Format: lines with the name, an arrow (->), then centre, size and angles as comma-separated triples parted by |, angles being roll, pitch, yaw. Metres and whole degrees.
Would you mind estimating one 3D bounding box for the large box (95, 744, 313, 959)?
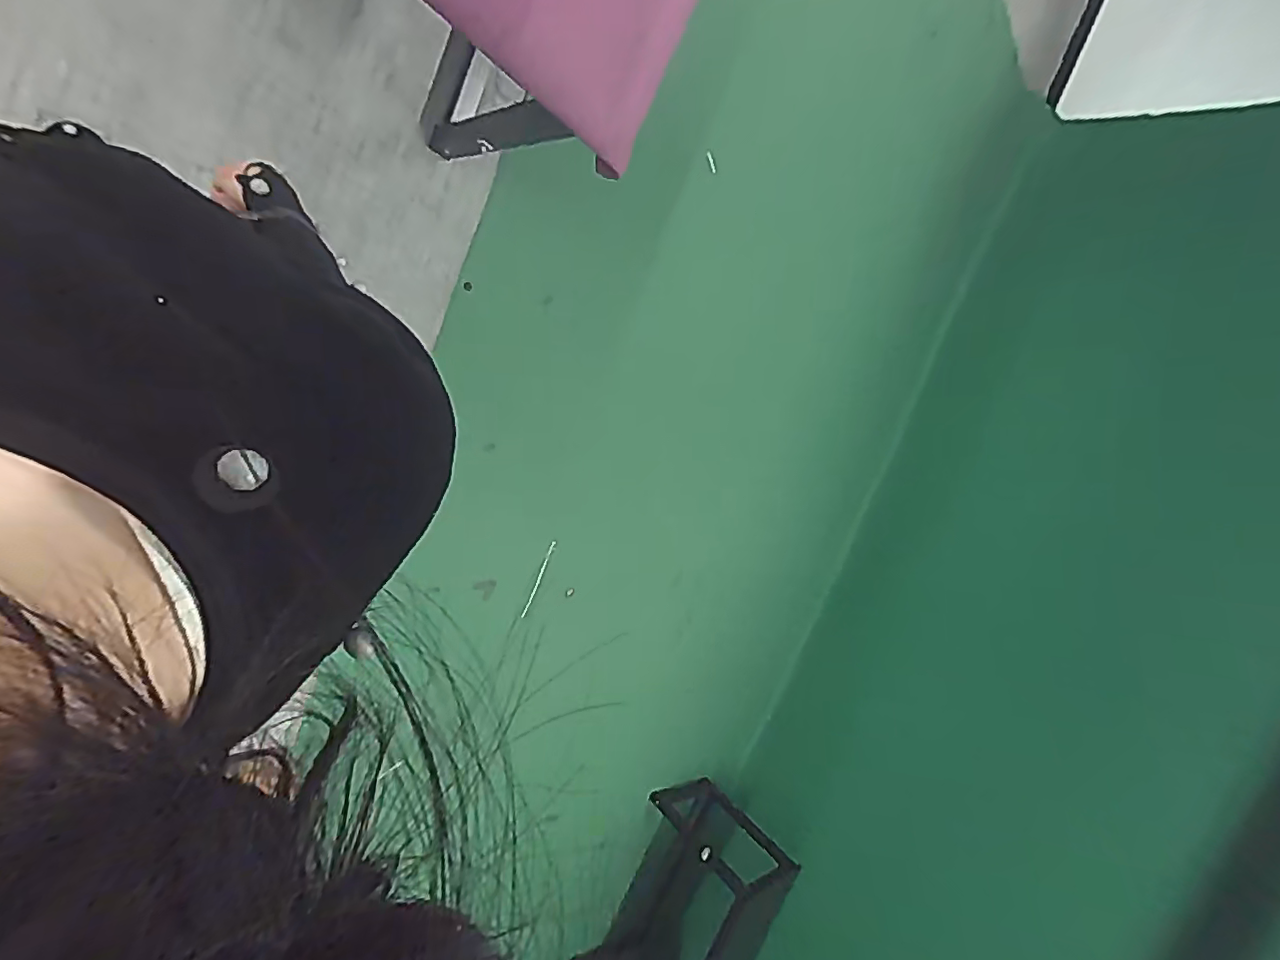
large box -> -1.119, 0.975, 1.404 | 0.408, 0.320, 0.320 | -3, 113, -44
